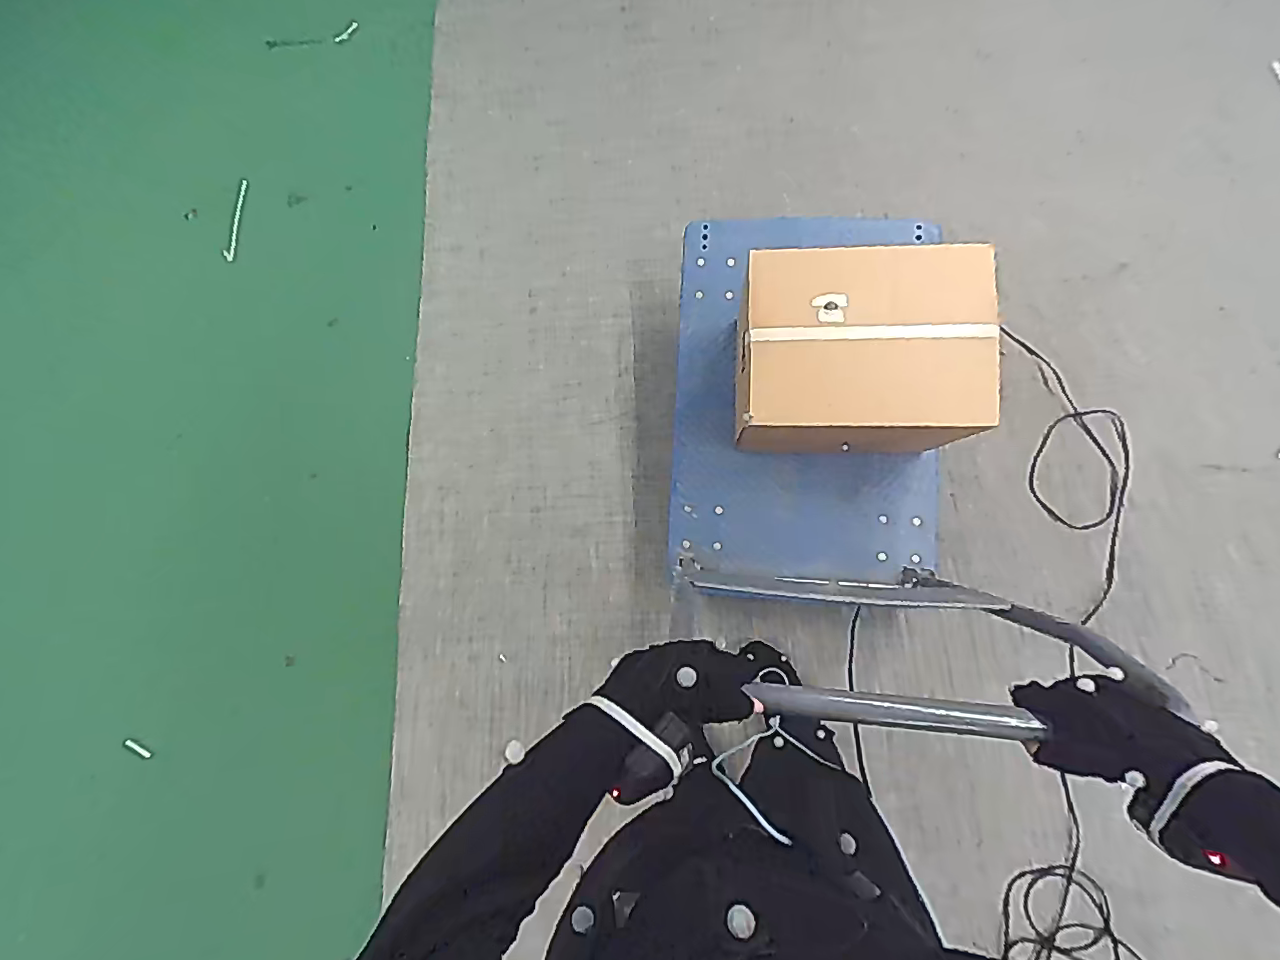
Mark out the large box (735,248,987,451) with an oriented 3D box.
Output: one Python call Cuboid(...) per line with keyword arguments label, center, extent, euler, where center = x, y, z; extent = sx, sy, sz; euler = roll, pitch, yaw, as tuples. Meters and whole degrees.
Cuboid(label="large box", center=(0.399, -0.228, 1.076), extent=(0.408, 0.320, 0.320), euler=(0, 85, 7))
